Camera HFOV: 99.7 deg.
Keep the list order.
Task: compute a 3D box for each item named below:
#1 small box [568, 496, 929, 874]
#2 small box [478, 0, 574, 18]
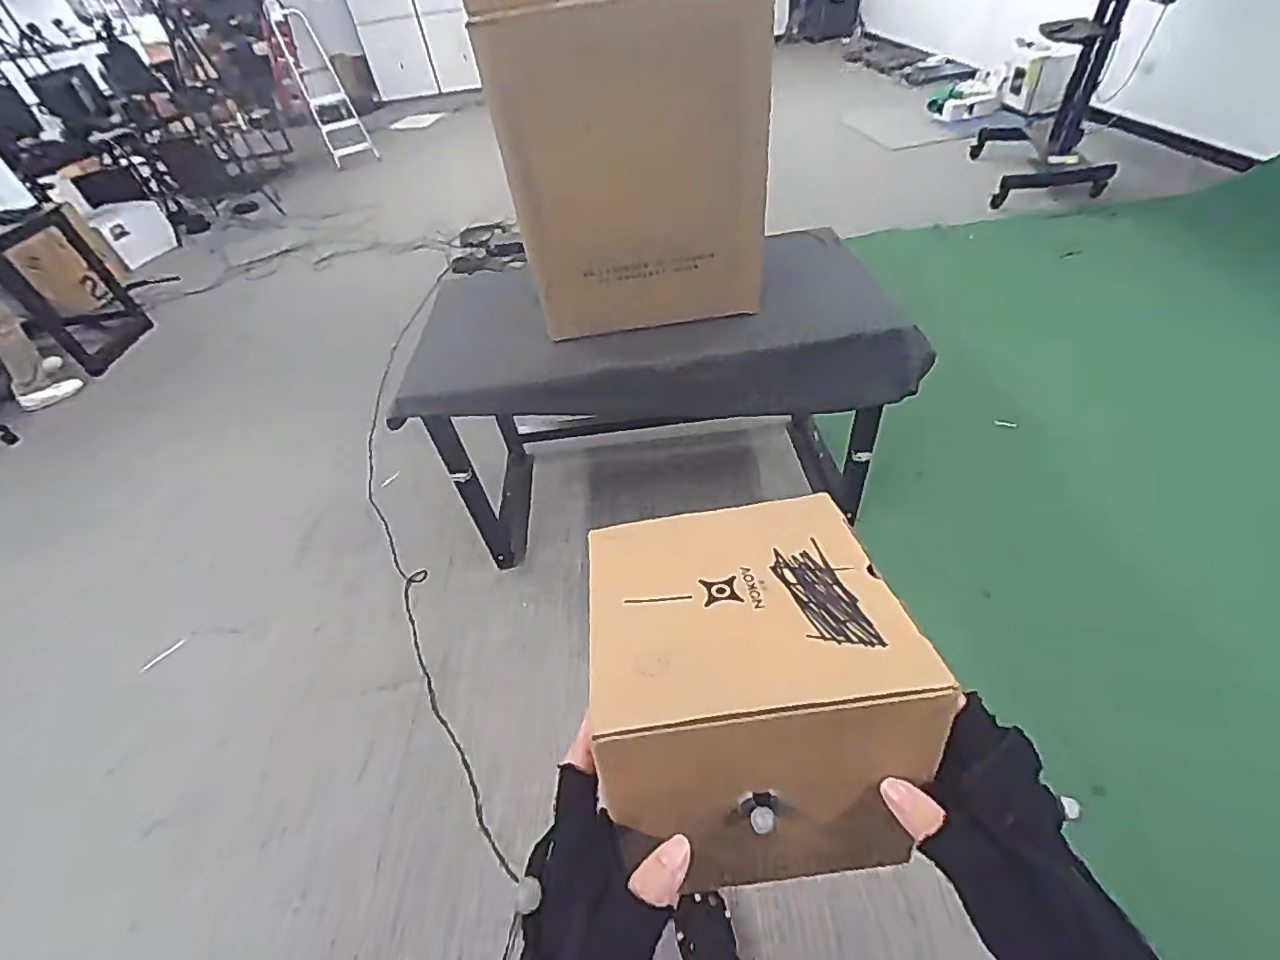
[{"bbox_3d":[0.056,0.131,0.365,0.179,0.176,0.168,-6,31,1],"label":"small box"},{"bbox_3d":[-0.208,-0.914,0.923,0.168,0.176,0.179,-8,47,1],"label":"small box"}]
